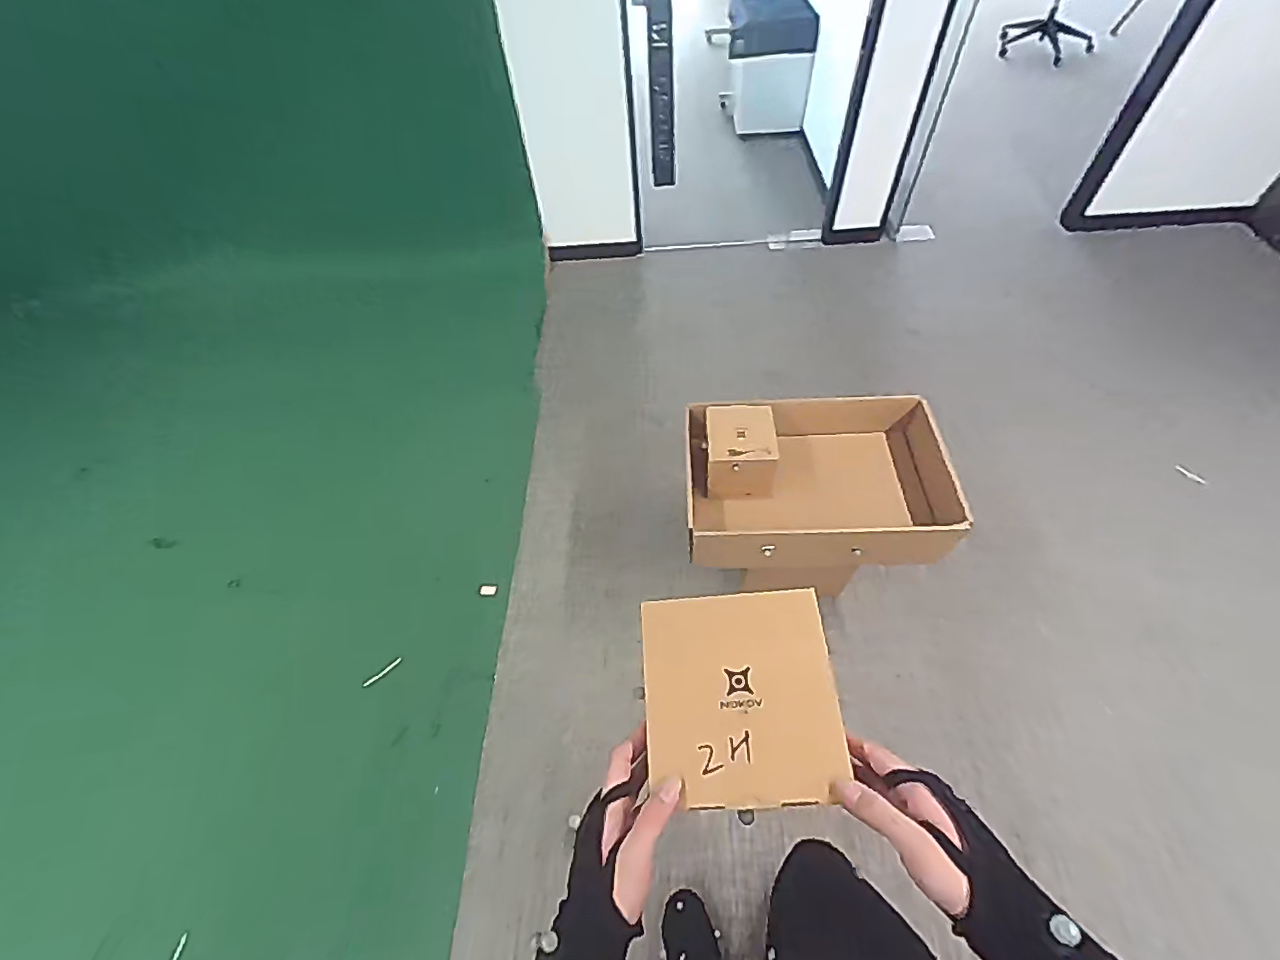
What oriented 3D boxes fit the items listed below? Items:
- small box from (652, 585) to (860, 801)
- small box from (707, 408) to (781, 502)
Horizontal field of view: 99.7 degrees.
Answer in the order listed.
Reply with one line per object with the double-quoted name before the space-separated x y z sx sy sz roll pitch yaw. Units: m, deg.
"small box" 0.100 0.218 0.541 0.168 0.176 0.179 -4 60 5
"small box" 0.258 -0.064 1.380 0.168 0.176 0.179 0 54 4
